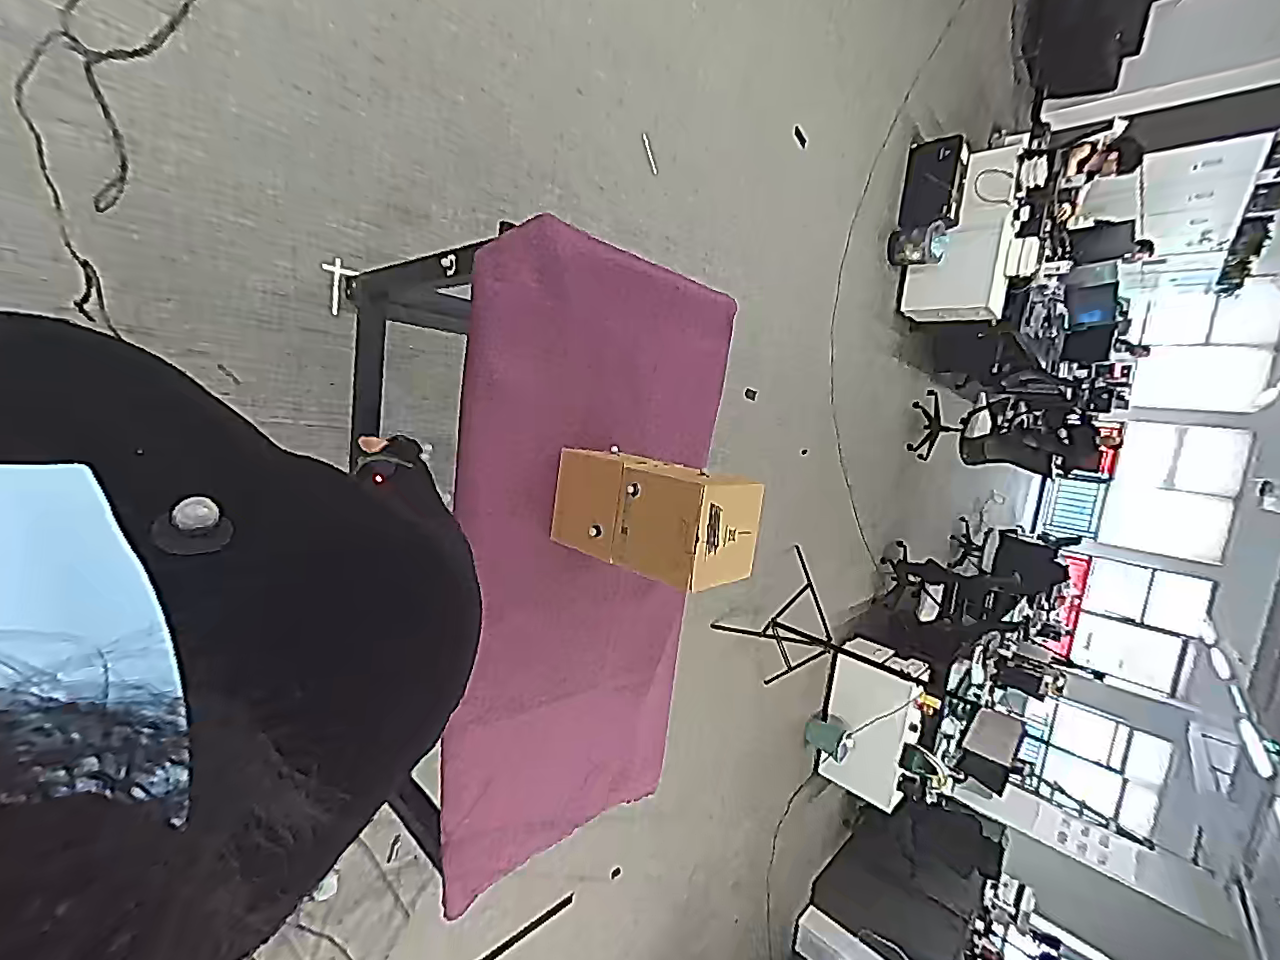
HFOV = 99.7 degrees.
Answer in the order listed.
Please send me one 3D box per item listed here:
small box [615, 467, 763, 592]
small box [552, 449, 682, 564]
[{"bbox_3d":[0.079,0.074,0.905,0.179,0.176,0.168,-1,101,-48],"label":"small box"},{"bbox_3d":[-0.046,0.044,1.009,0.168,0.176,0.179,2,99,-48],"label":"small box"}]
